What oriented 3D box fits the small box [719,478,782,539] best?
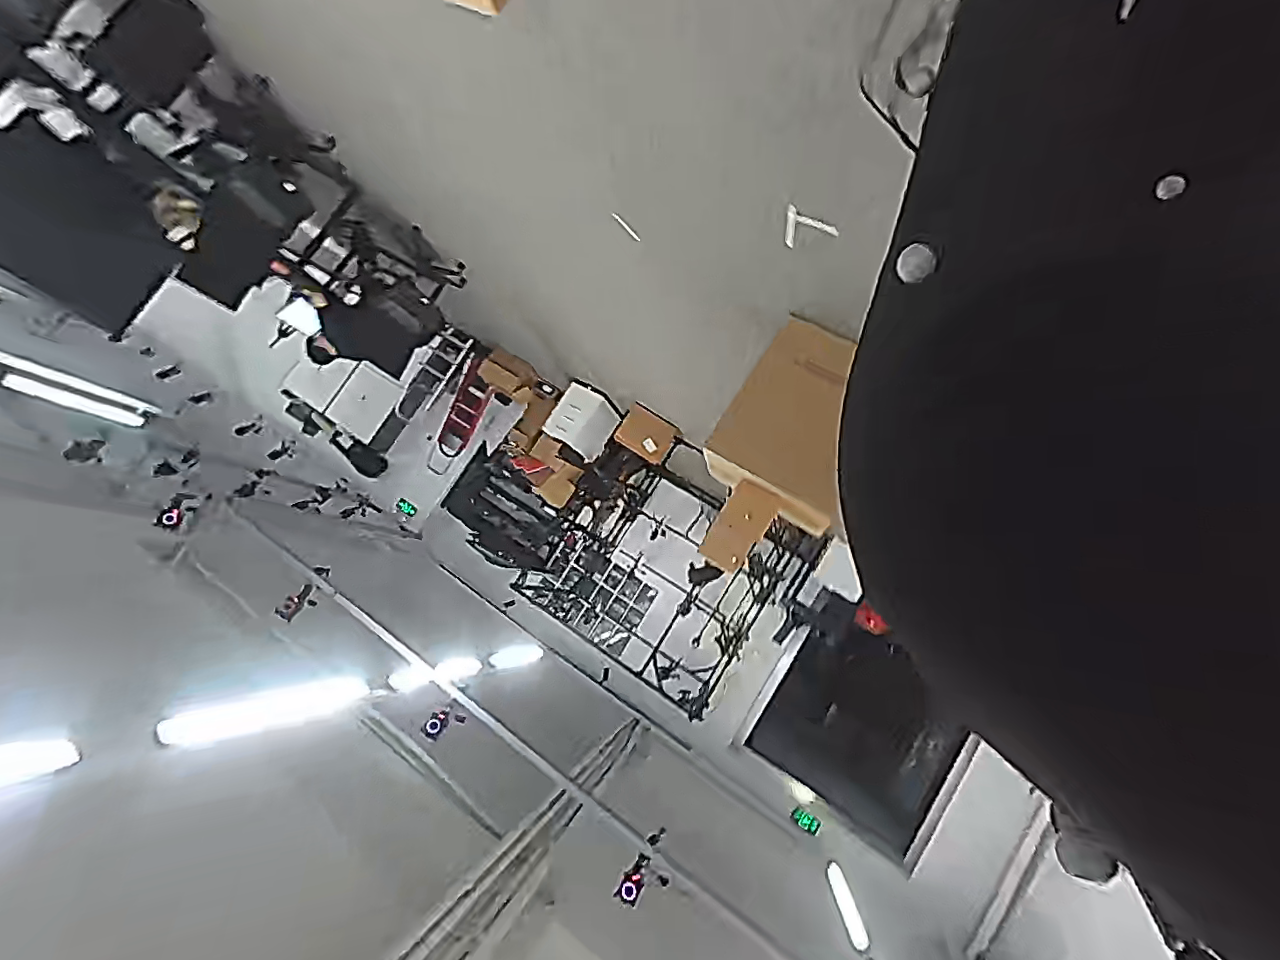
[{"bbox_3d":[0.421,0.103,2.067,0.179,0.176,0.168,30,174,16],"label":"small box"}]

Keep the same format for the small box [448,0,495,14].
[{"bbox_3d":[-0.398,-1.239,1.241,0.179,0.176,0.168,29,174,15],"label":"small box"}]
